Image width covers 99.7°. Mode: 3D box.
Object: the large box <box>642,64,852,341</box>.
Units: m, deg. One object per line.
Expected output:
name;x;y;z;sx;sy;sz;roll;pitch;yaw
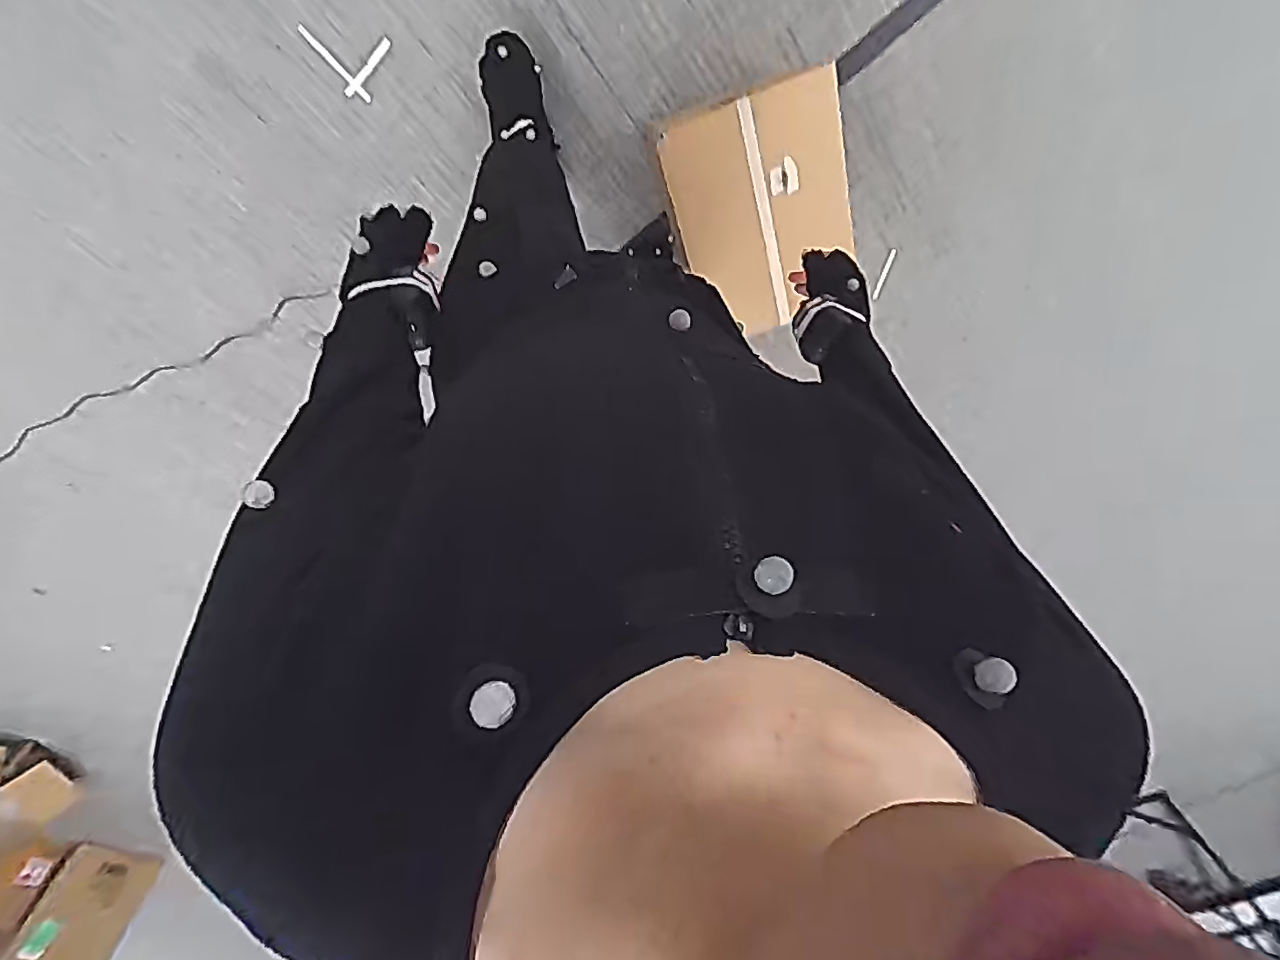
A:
large box;0.216;-0.571;1.138;0.320;0.320;0.408;-18;123;8
